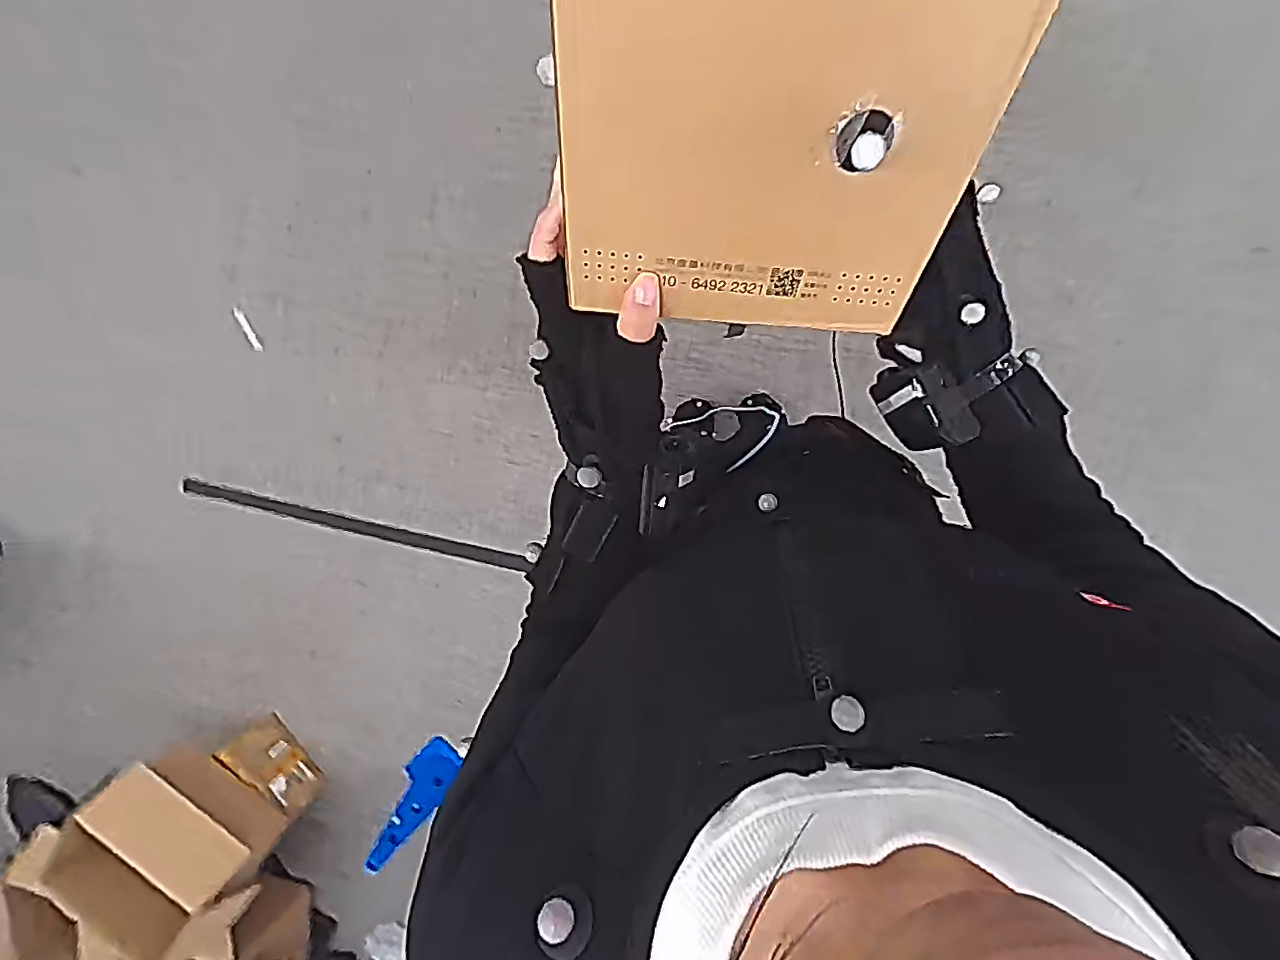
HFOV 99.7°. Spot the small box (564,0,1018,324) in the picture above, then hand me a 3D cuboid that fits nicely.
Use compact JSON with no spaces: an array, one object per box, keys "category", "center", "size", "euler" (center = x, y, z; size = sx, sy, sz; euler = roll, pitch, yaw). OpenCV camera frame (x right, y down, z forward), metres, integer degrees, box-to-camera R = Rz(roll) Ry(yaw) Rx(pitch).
[{"category":"small box","center":[0.060,-0.203,0.280],"size":[0.168,0.179,0.176],"euler":[7,143,1]}]
